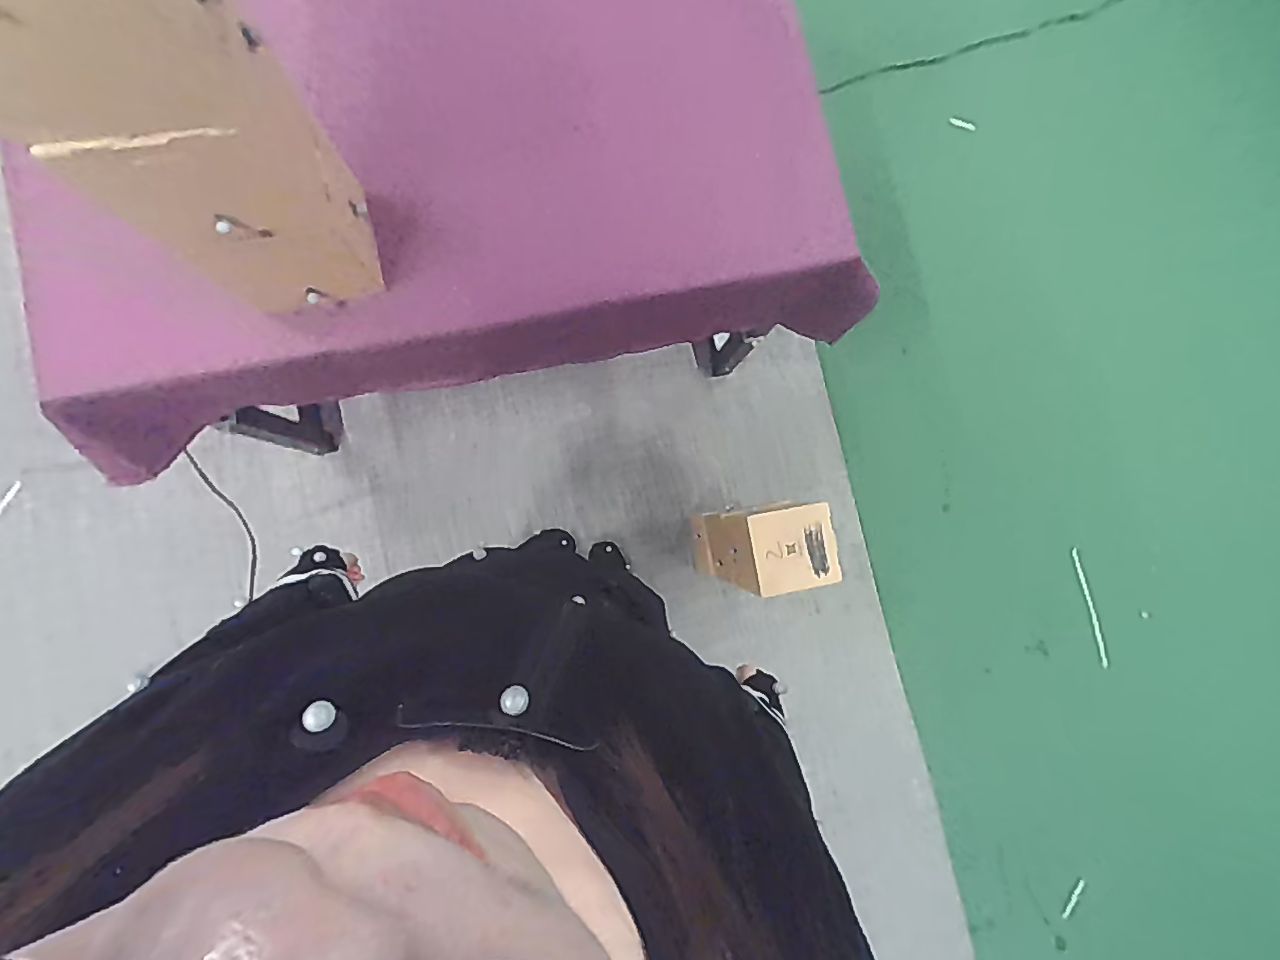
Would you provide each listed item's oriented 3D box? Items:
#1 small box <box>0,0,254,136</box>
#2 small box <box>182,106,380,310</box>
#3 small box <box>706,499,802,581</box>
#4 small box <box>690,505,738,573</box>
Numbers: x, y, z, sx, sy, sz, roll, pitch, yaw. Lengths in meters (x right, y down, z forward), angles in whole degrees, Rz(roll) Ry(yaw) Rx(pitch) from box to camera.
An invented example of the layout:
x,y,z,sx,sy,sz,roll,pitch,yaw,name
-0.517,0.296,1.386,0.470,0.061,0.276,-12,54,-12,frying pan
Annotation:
x,y,z,sx,sy,sz,roll,pitch,yaw,name
-0.421,-0.378,0.383,0.179,0.176,0.168,-10,86,-8,small box
-0.462,-0.343,0.709,0.179,0.176,0.168,-13,86,-8,small box
0.269,0.144,1.324,0.179,0.176,0.168,-11,88,-8,small box
0.242,0.157,1.484,0.179,0.176,0.168,-8,86,-8,small box
